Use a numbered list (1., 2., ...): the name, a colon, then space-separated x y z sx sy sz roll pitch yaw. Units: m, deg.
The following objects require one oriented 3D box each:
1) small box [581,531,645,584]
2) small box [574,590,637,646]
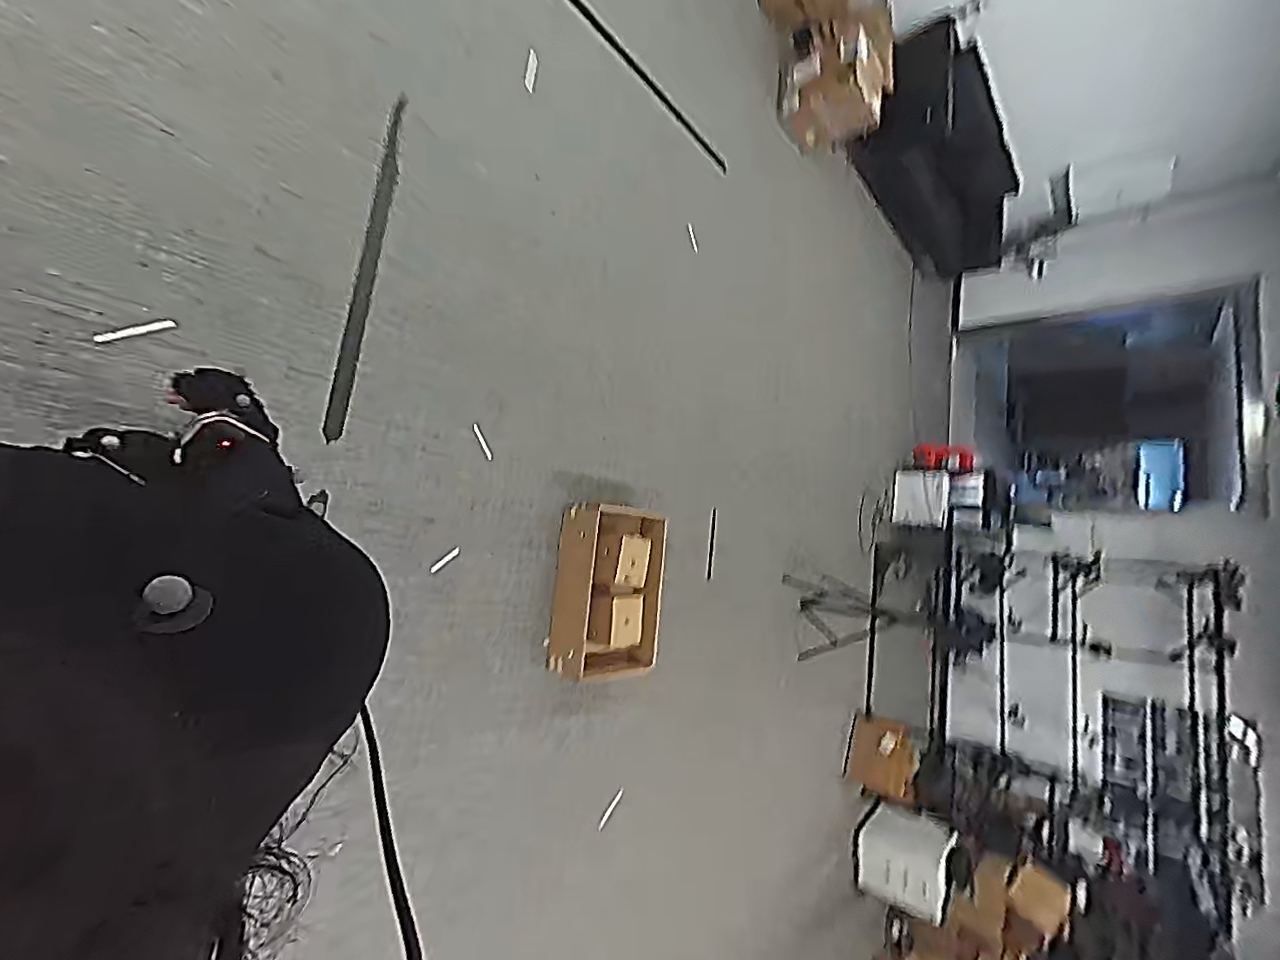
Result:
1. small box: -0.107 0.292 2.059 0.168 0.176 0.179 19 76 -46
2. small box: -0.133 0.514 2.032 0.168 0.176 0.179 9 81 -49
